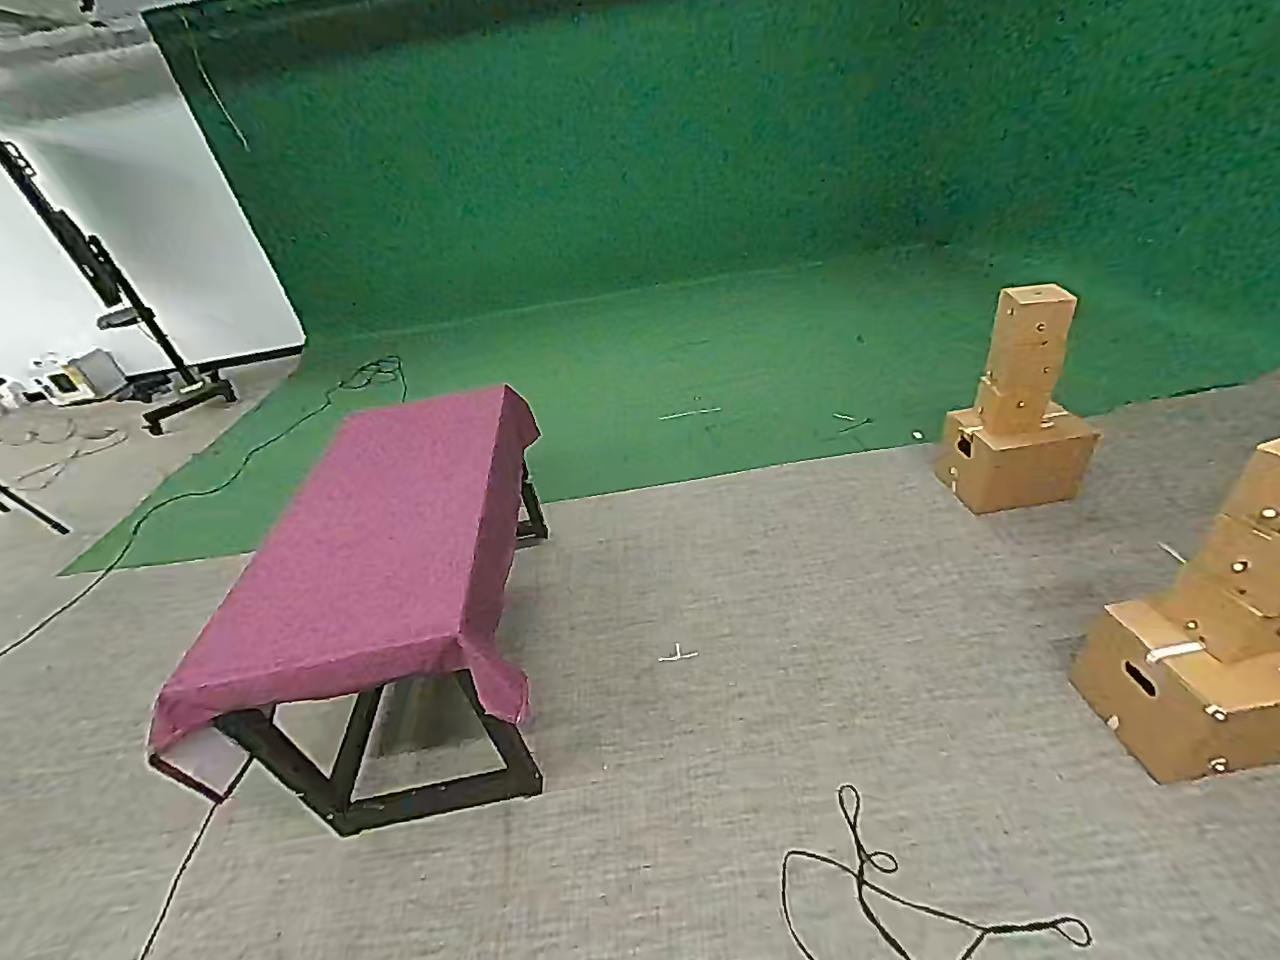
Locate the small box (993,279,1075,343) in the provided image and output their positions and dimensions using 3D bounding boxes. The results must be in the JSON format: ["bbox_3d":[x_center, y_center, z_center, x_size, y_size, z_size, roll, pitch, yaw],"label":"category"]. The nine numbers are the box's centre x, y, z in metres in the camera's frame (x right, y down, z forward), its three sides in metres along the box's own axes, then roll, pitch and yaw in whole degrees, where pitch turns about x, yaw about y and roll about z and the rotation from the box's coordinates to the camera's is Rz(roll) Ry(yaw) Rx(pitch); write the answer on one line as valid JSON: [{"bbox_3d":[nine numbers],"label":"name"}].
[{"bbox_3d":[1.362,-0.582,1.881,0.168,0.176,0.179,-1,35,12],"label":"small box"}]

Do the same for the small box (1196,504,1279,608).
[{"bbox_3d":[1.357,0.146,1.155,0.179,0.176,0.168,-15,34,-6],"label":"small box"}]

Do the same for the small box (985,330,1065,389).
[{"bbox_3d":[1.391,-0.445,1.967,0.179,0.176,0.168,-2,35,13],"label":"small box"}]

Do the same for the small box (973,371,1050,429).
[{"bbox_3d":[1.405,-0.309,2.056,0.179,0.176,0.168,-4,35,9],"label":"small box"}]

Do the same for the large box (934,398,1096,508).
[{"bbox_3d":[1.491,-0.119,2.191,0.408,0.320,0.320,-9,35,0],"label":"large box"}]

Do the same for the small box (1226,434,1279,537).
[{"bbox_3d":[1.335,0.011,1.062,0.179,0.176,0.168,-16,34,-7],"label":"small box"}]
